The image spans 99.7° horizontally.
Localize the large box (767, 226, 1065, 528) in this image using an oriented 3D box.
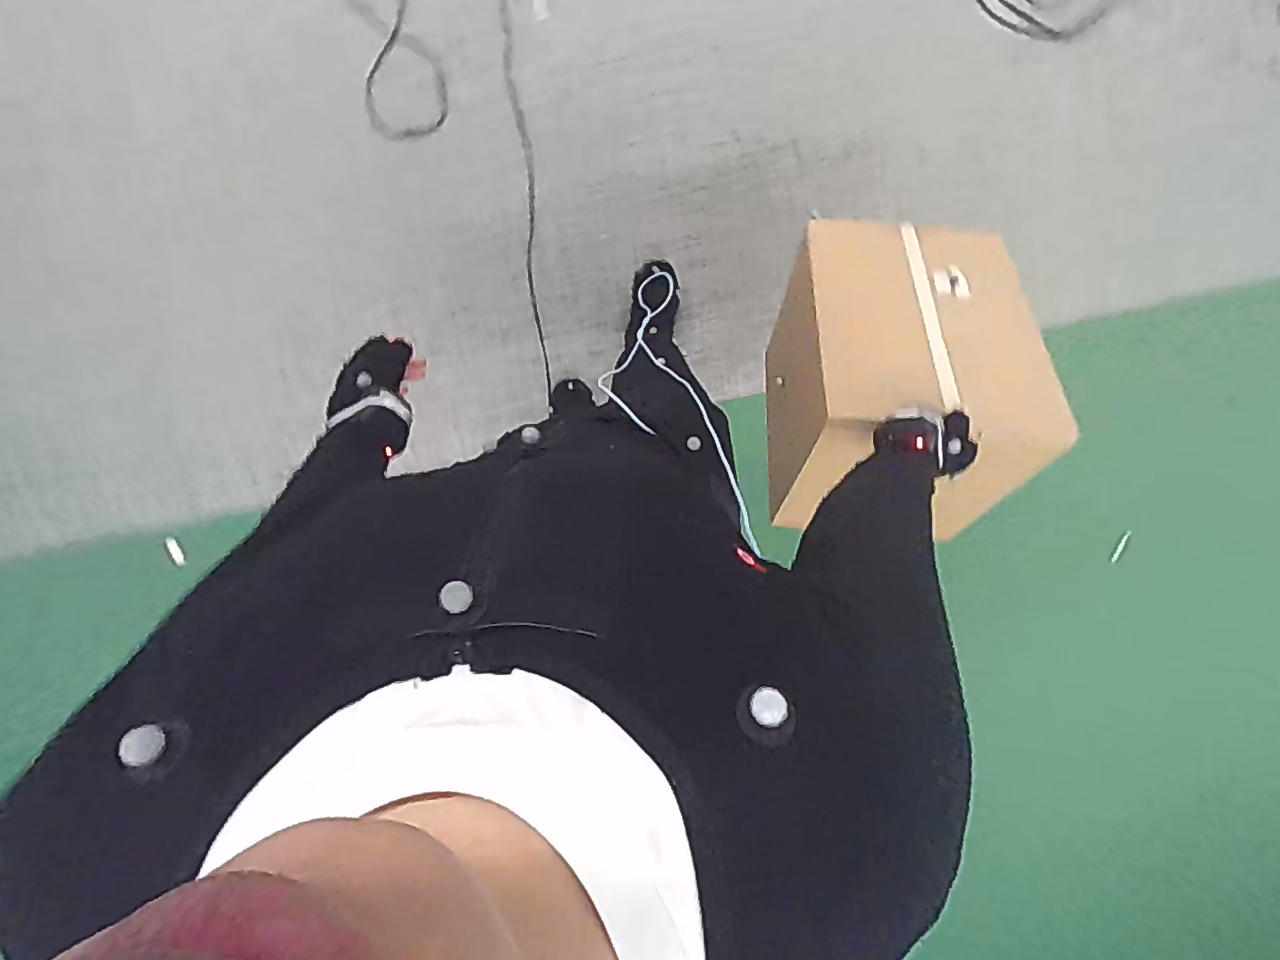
[{"bbox_3d":[0.405,-0.165,0.920,0.320,0.320,0.408,5,59,1],"label":"large box"}]
